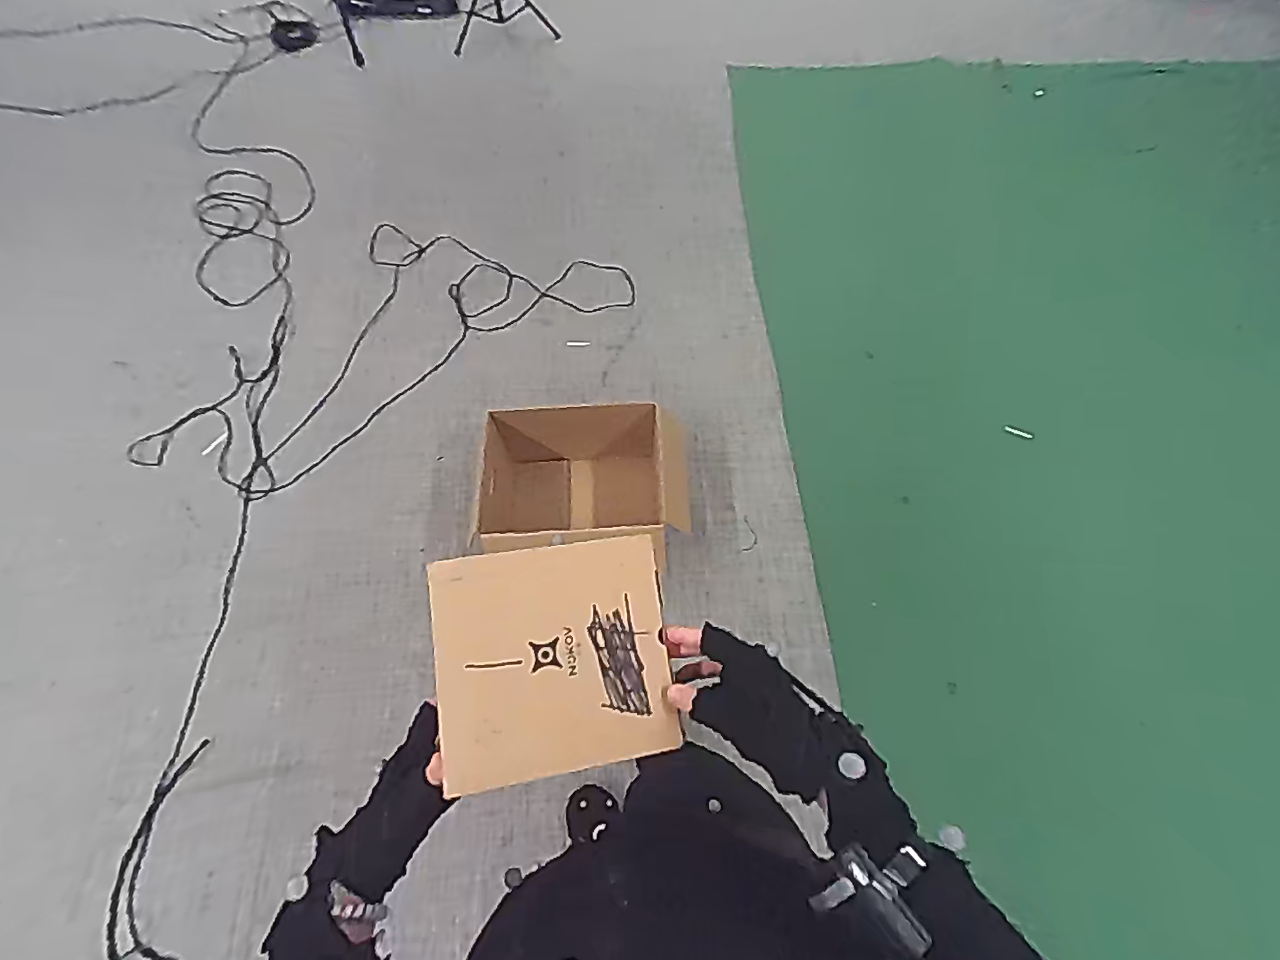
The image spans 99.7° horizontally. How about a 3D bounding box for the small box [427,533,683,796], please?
[{"bbox_3d":[-0.077,0.145,0.476,0.179,0.176,0.168,-6,78,-12],"label":"small box"}]
